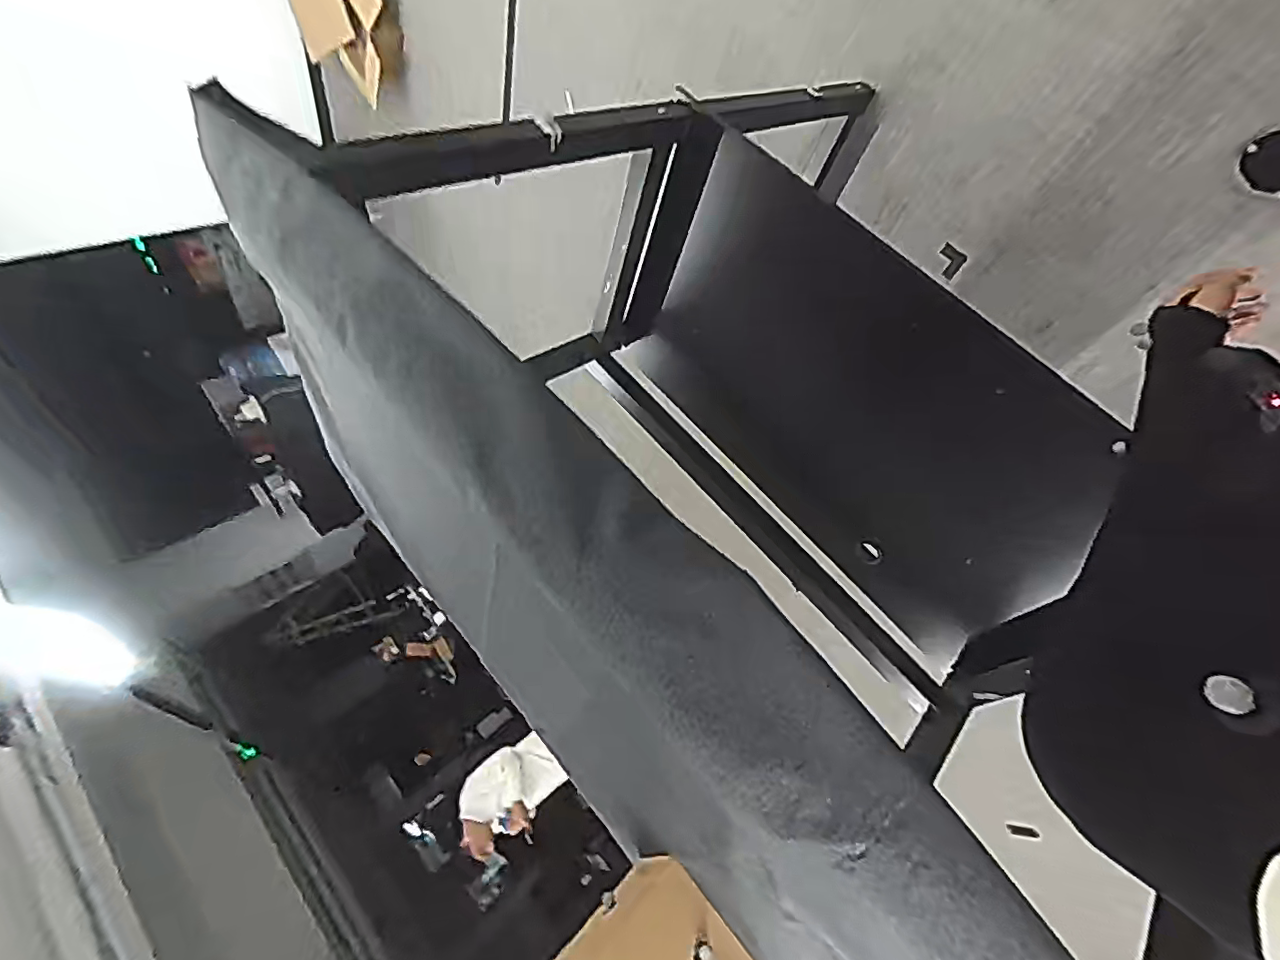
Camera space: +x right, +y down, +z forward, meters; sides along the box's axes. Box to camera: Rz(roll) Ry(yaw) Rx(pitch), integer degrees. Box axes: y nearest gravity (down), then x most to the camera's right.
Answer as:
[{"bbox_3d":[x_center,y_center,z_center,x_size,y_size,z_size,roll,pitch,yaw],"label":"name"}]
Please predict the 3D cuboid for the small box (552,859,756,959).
[{"bbox_3d":[0.021,0.589,0.644,0.179,0.176,0.168,46,146,18],"label":"small box"}]
